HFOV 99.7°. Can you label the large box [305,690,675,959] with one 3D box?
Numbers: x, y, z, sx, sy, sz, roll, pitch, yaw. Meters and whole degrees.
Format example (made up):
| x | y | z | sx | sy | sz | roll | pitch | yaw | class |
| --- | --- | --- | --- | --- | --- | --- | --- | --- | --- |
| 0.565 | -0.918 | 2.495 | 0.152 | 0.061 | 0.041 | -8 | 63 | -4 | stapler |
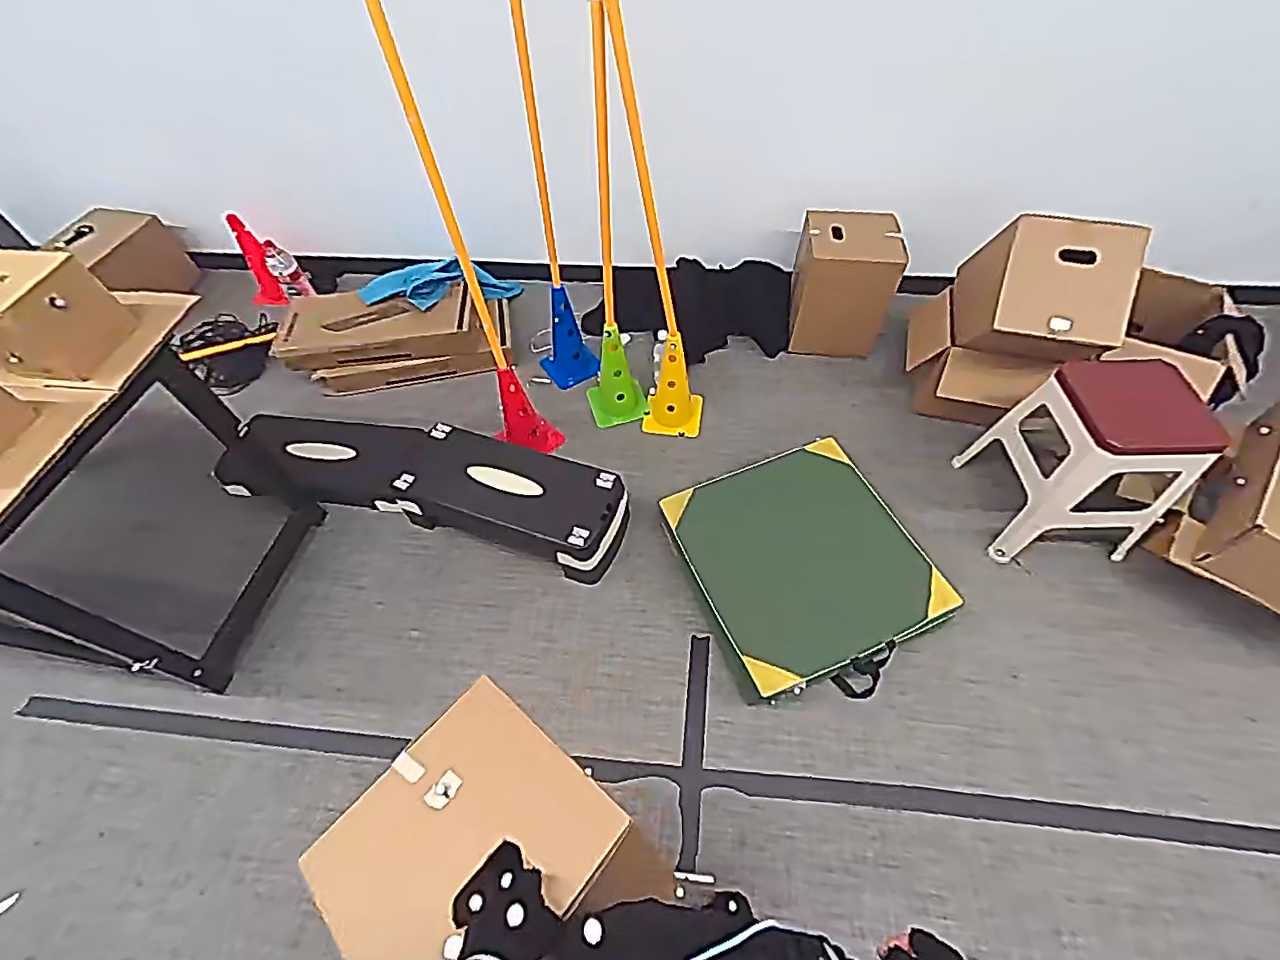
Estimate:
| x | y | z | sx | sy | sz | roll | pitch | yaw | class |
| --- | --- | --- | --- | --- | --- | --- | --- | --- | --- |
| -0.187 | 0.591 | 0.806 | 0.320 | 0.408 | 0.320 | 26 | 58 | 35 | large box |
